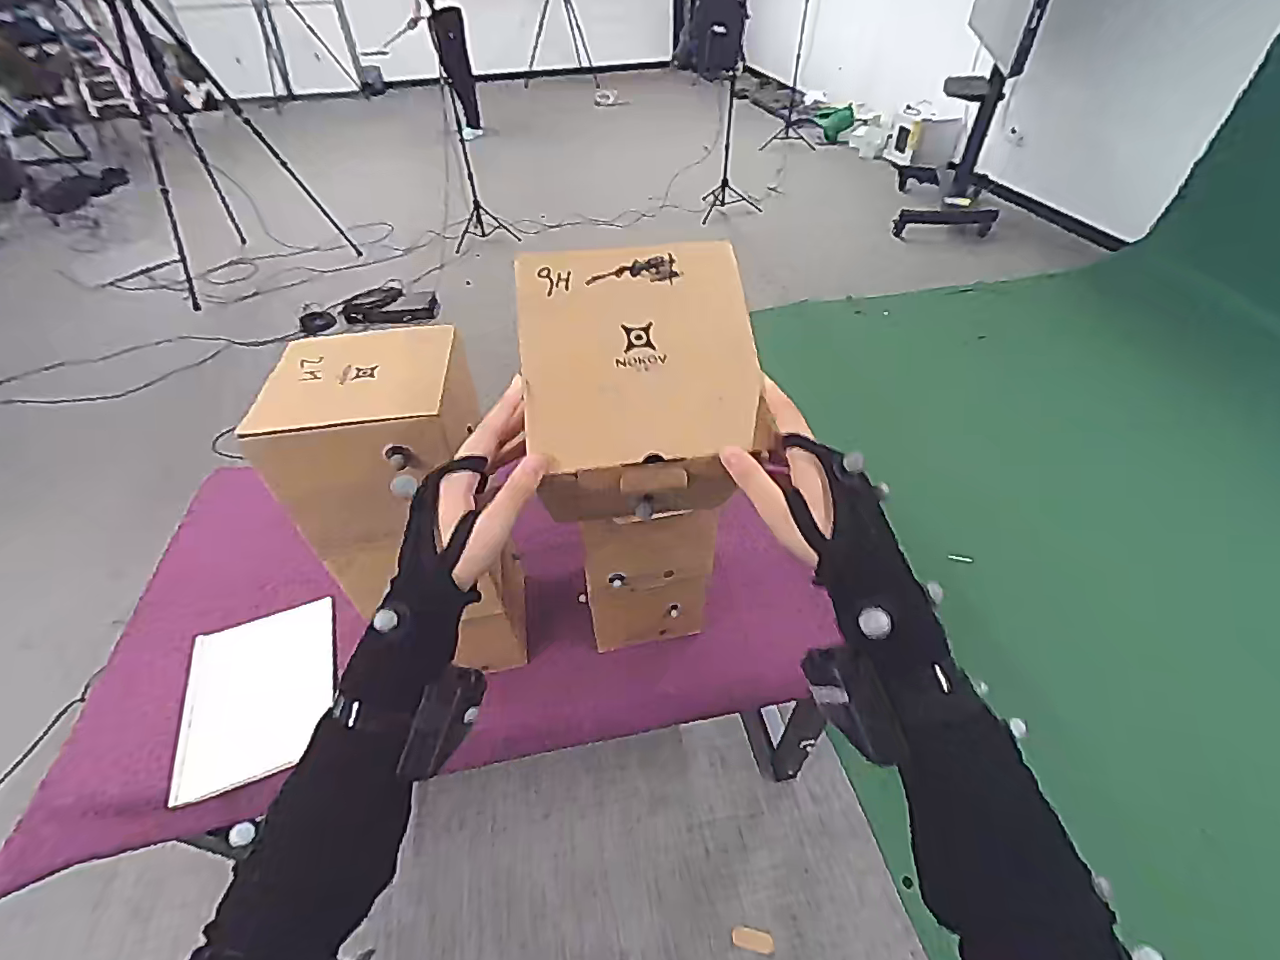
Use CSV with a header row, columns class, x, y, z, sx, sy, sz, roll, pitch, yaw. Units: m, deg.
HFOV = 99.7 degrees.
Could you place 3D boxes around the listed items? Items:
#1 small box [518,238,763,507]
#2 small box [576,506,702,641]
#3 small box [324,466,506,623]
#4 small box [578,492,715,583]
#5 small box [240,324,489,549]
class,x,y,z,sx,sy,sz,roll,pitch,yaw
small box,-0.006,-0.076,0.467,0.168,0.176,0.179,-6,77,-5
small box,-0.004,0.137,0.854,0.168,0.176,0.179,-8,45,-7
small box,-0.272,0.068,0.701,0.168,0.176,0.179,-9,45,-6
small box,-0.002,0.023,0.736,0.168,0.176,0.179,-9,44,-8
small box,-0.267,-0.046,0.581,0.179,0.176,0.168,-7,44,-5
